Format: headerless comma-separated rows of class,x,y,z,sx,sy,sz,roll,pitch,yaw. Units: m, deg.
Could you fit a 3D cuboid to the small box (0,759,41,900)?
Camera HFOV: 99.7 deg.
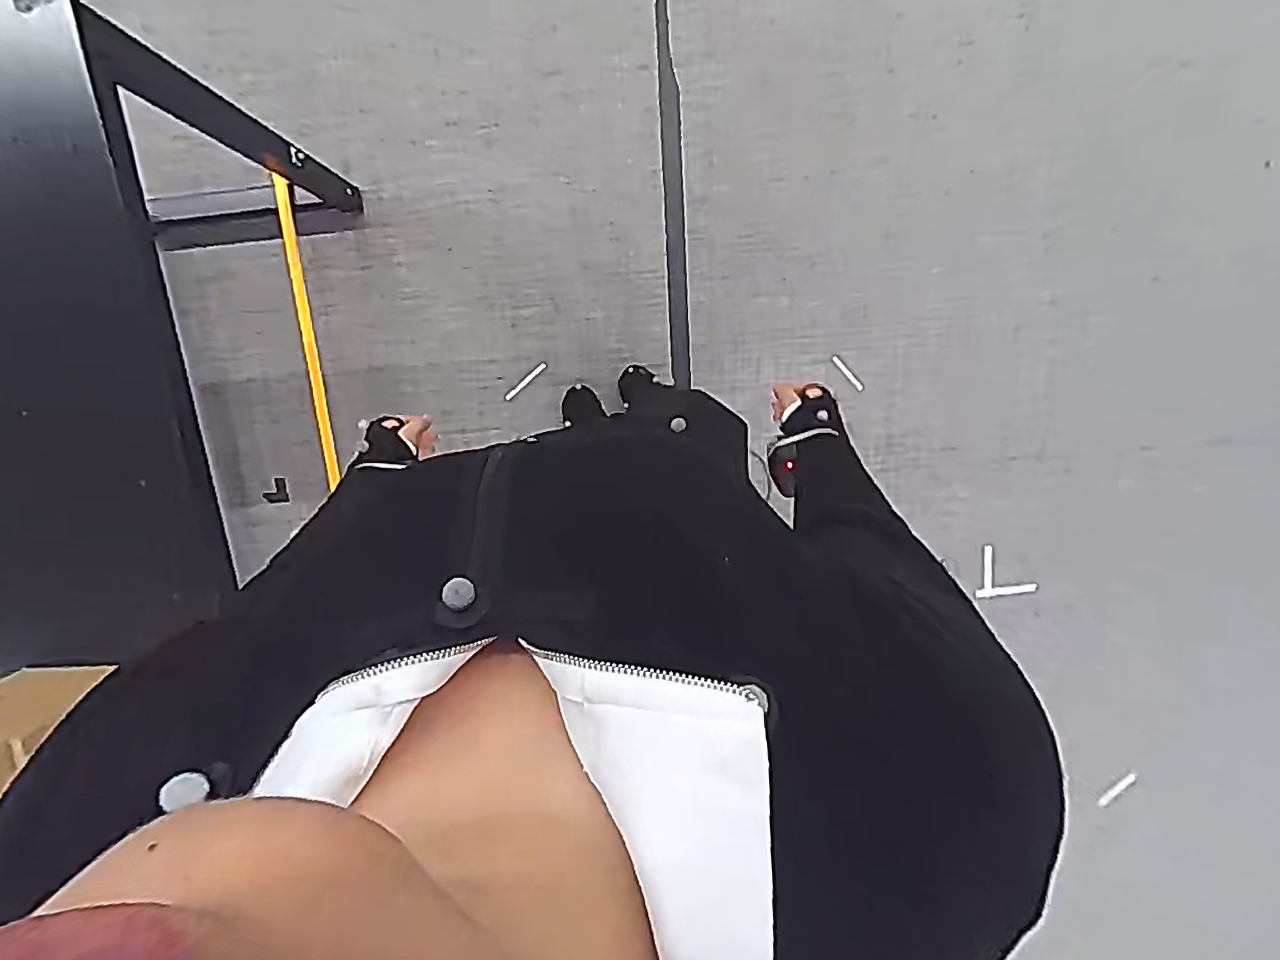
small box,-0.808,0.404,0.564,0.168,0.176,0.179,-2,102,0

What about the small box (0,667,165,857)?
small box,-0.804,0.368,0.726,0.179,0.176,0.168,-2,102,-1
